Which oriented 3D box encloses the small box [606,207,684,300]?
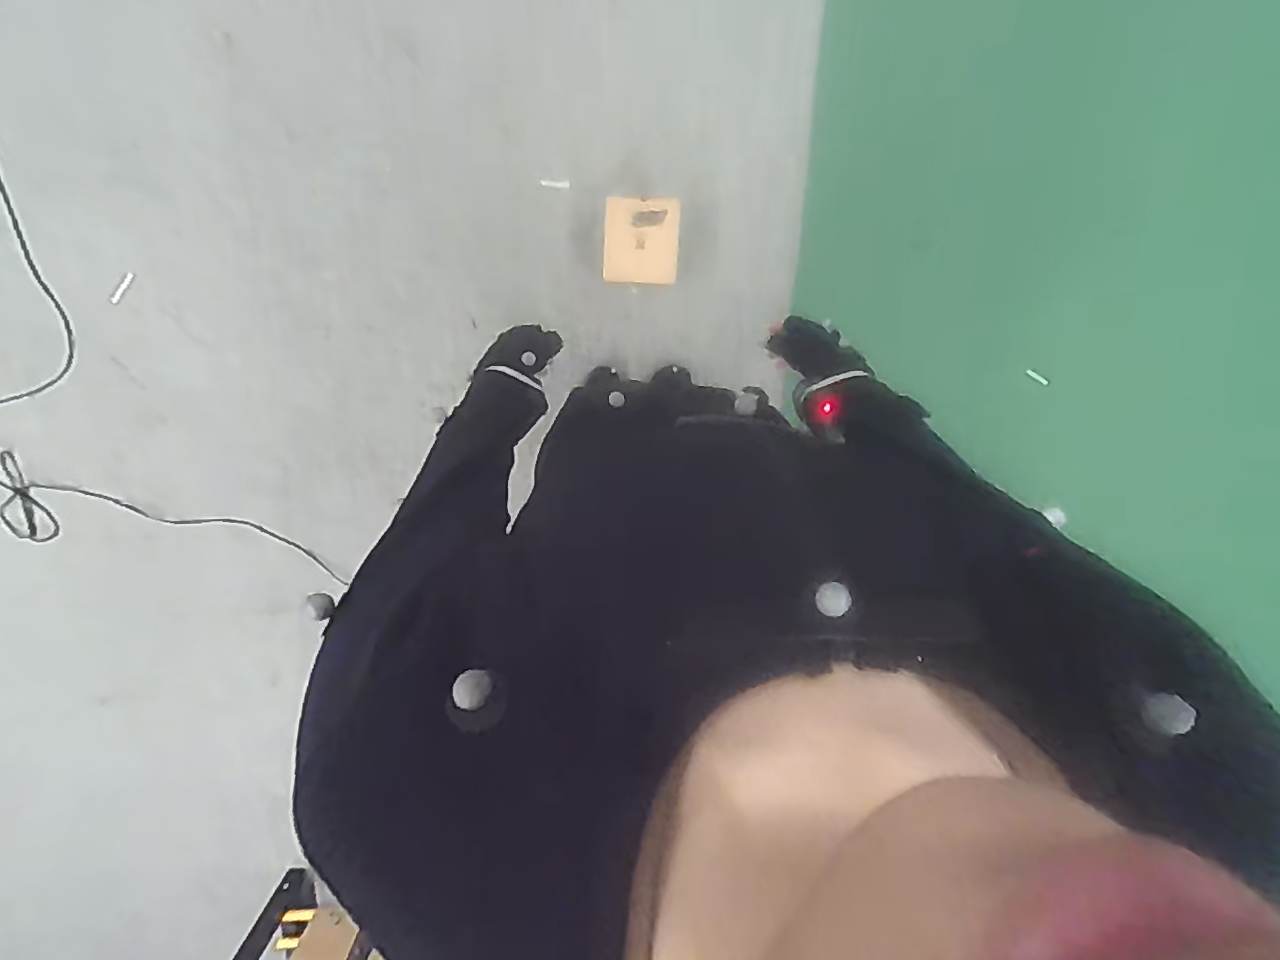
[{"bbox_3d":[0.006,-0.524,1.272,0.168,0.176,0.179,2,105,-3],"label":"small box"}]
